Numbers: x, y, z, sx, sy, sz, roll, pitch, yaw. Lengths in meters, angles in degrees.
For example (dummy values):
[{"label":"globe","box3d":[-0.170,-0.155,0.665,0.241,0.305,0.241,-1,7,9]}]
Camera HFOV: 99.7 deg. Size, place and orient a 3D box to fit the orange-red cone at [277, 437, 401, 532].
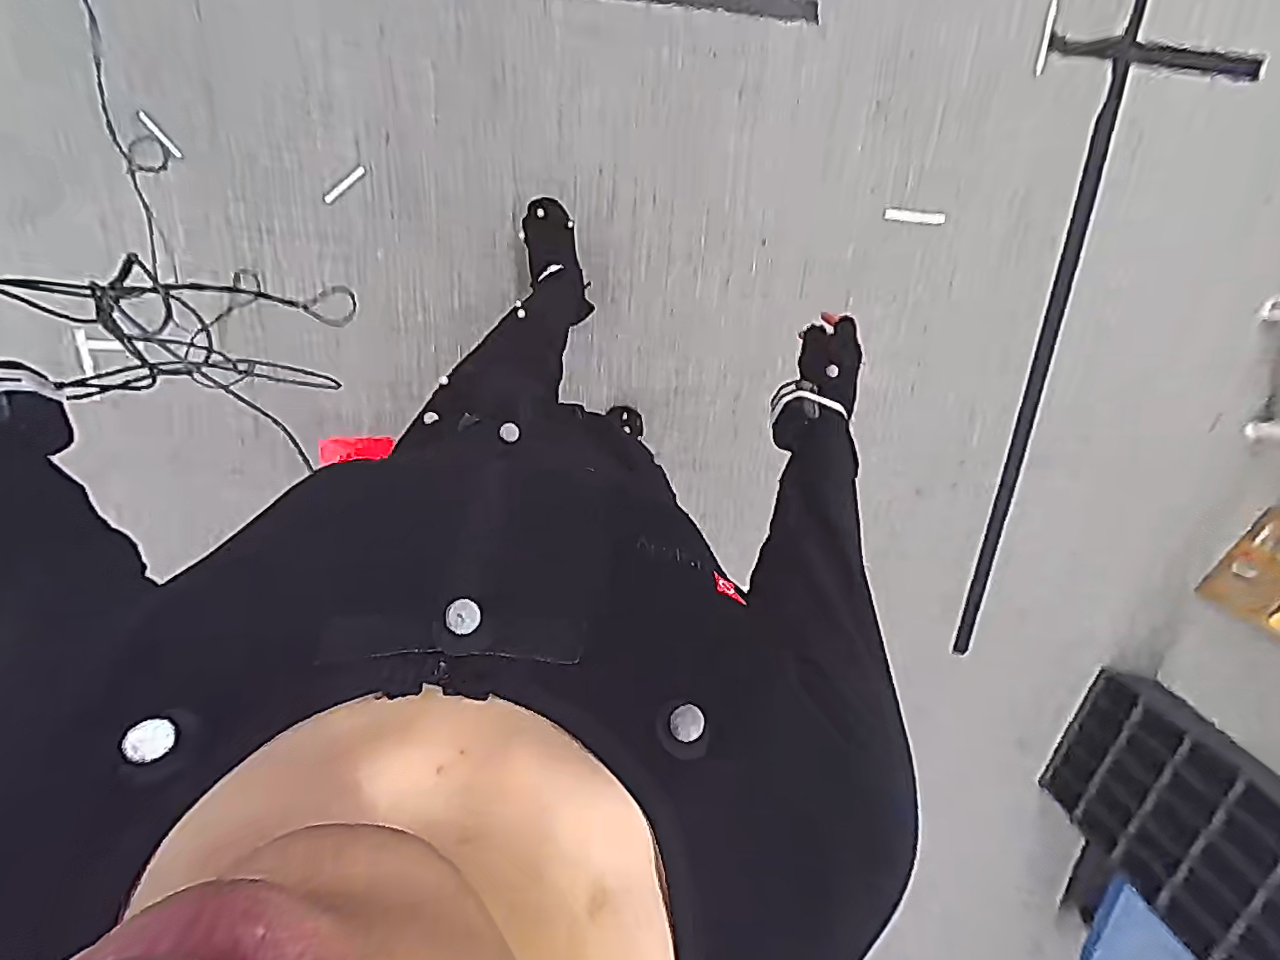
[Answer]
[{"label":"orange-red cone","box3d":[-0.730,0.035,1.266,0.199,0.360,0.198,-1,107,-4]}]
